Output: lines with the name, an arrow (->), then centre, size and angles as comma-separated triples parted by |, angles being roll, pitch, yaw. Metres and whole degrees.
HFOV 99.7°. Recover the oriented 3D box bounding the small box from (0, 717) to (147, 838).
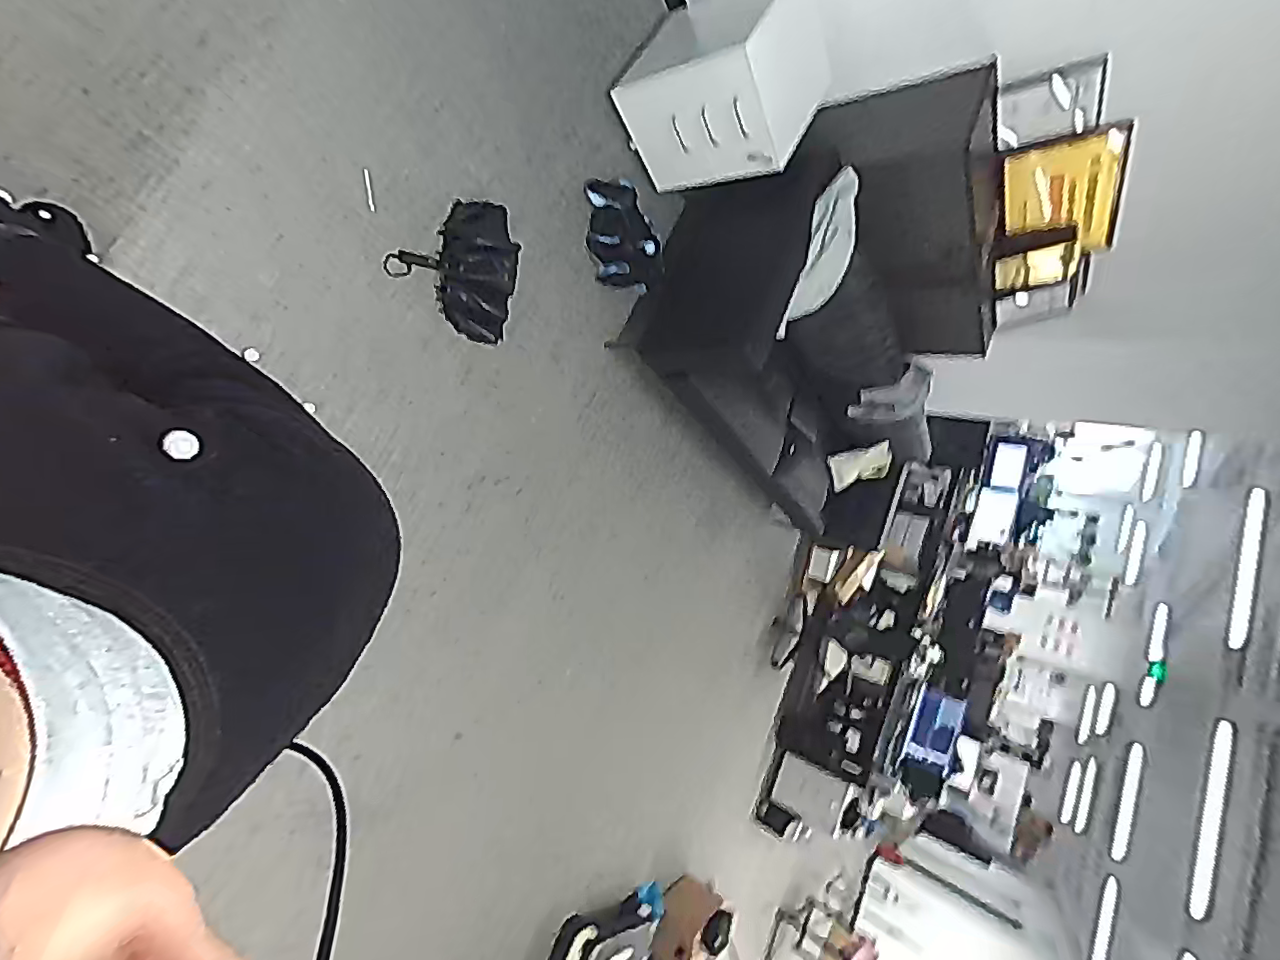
small box -> -1.208, 0.624, 1.143 | 0.179, 0.176, 0.168 | 43, 66, -46
